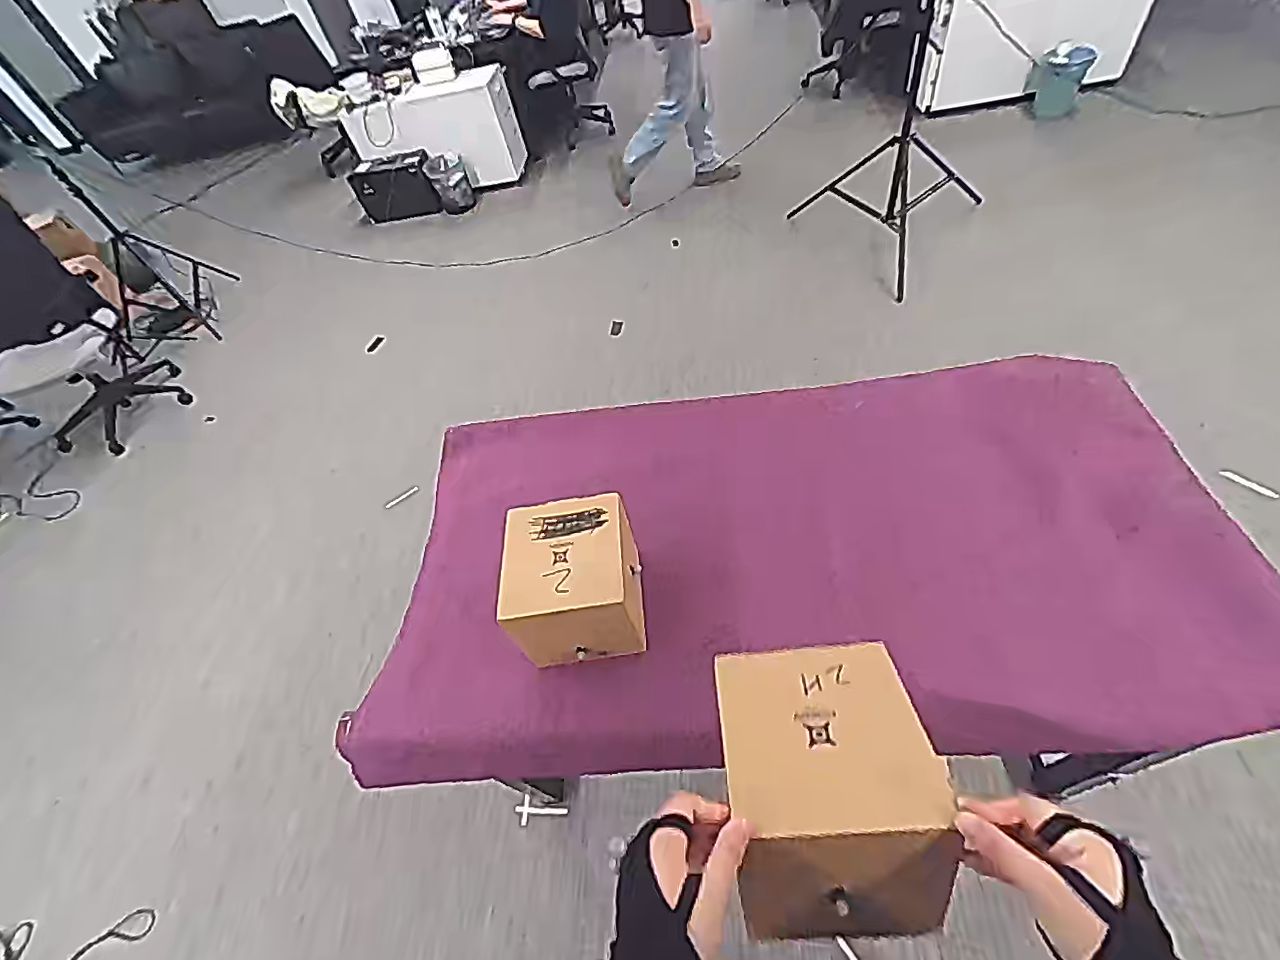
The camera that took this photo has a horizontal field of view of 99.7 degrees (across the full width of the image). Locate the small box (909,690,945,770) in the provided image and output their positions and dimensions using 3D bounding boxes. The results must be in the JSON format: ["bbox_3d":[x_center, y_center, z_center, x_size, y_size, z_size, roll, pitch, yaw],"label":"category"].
[{"bbox_3d":[0.573,0.591,1.235,0.168,0.176,0.179,-1,51,12],"label":"small box"}]

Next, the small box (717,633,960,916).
[{"bbox_3d":[0.166,0.271,0.502,0.168,0.176,0.179,-6,29,6],"label":"small box"}]
